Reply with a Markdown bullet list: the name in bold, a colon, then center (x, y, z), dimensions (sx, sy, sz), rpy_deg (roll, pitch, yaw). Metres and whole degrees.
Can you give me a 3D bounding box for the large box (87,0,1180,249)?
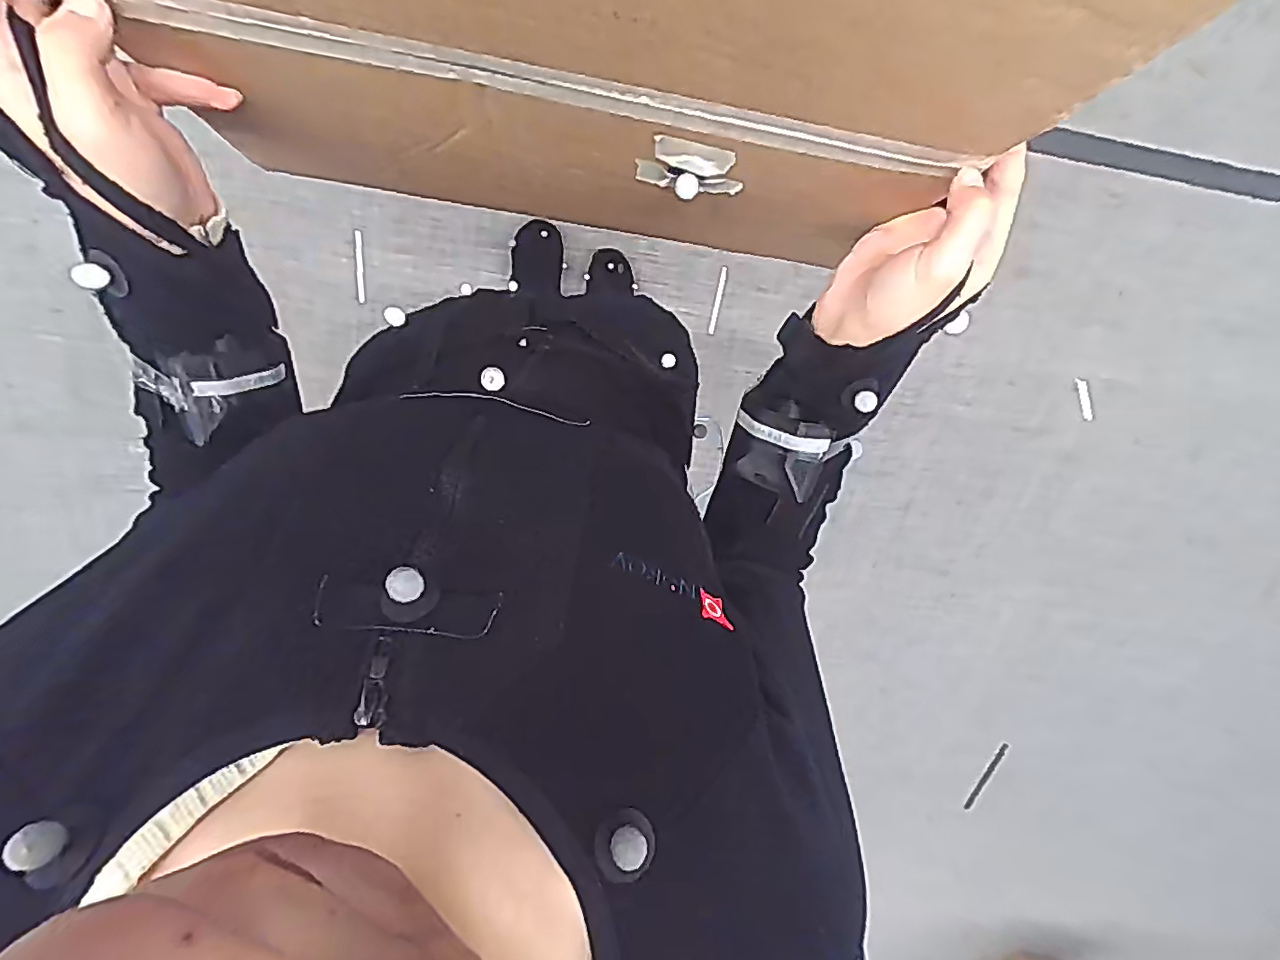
- **large box**: center (-0.019, -0.330, 0.227), dimensions (0.408, 0.320, 0.320), rpy_deg (5, 95, -7)
